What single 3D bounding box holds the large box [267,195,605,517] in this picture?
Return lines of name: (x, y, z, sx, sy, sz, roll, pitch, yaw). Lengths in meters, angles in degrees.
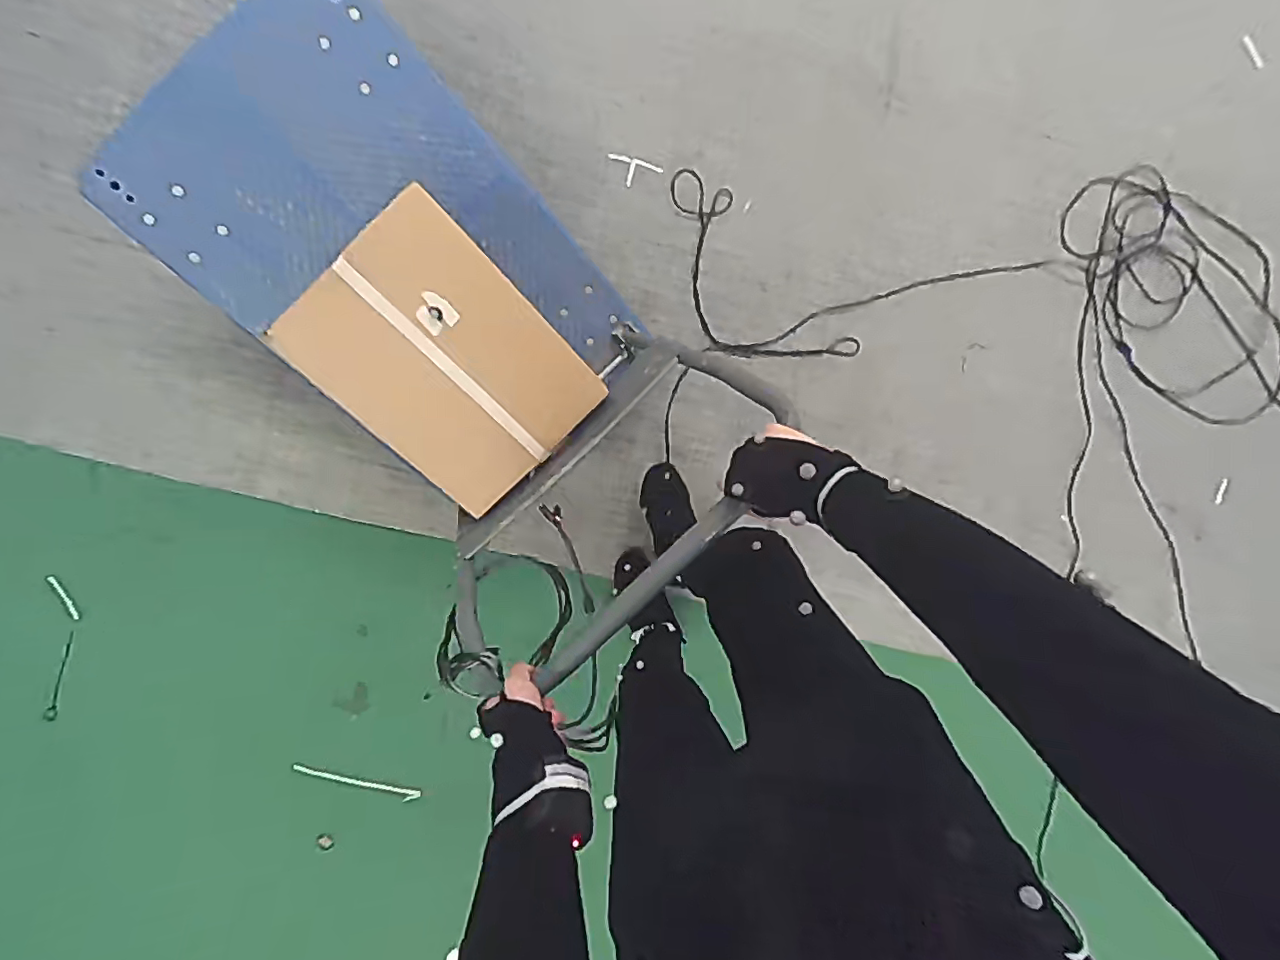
large box: (-0.322, -0.211, 0.966, 0.320, 0.320, 0.408, -43, 112, 3)
